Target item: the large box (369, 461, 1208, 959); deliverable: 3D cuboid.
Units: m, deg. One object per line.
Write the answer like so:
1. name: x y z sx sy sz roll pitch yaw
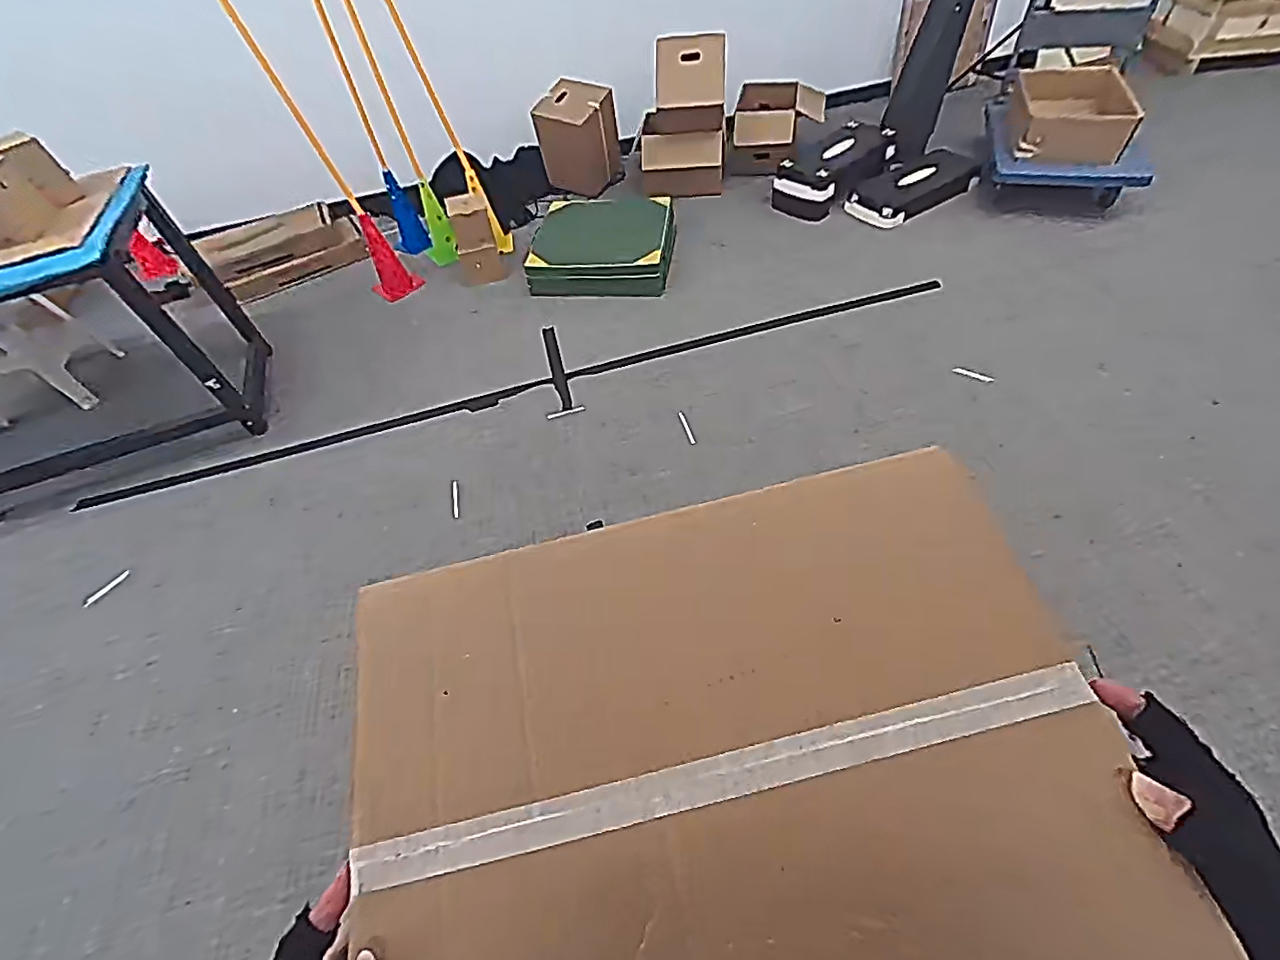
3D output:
1. large box: 0.059 0.231 0.435 0.408 0.320 0.320 -14 61 -1
